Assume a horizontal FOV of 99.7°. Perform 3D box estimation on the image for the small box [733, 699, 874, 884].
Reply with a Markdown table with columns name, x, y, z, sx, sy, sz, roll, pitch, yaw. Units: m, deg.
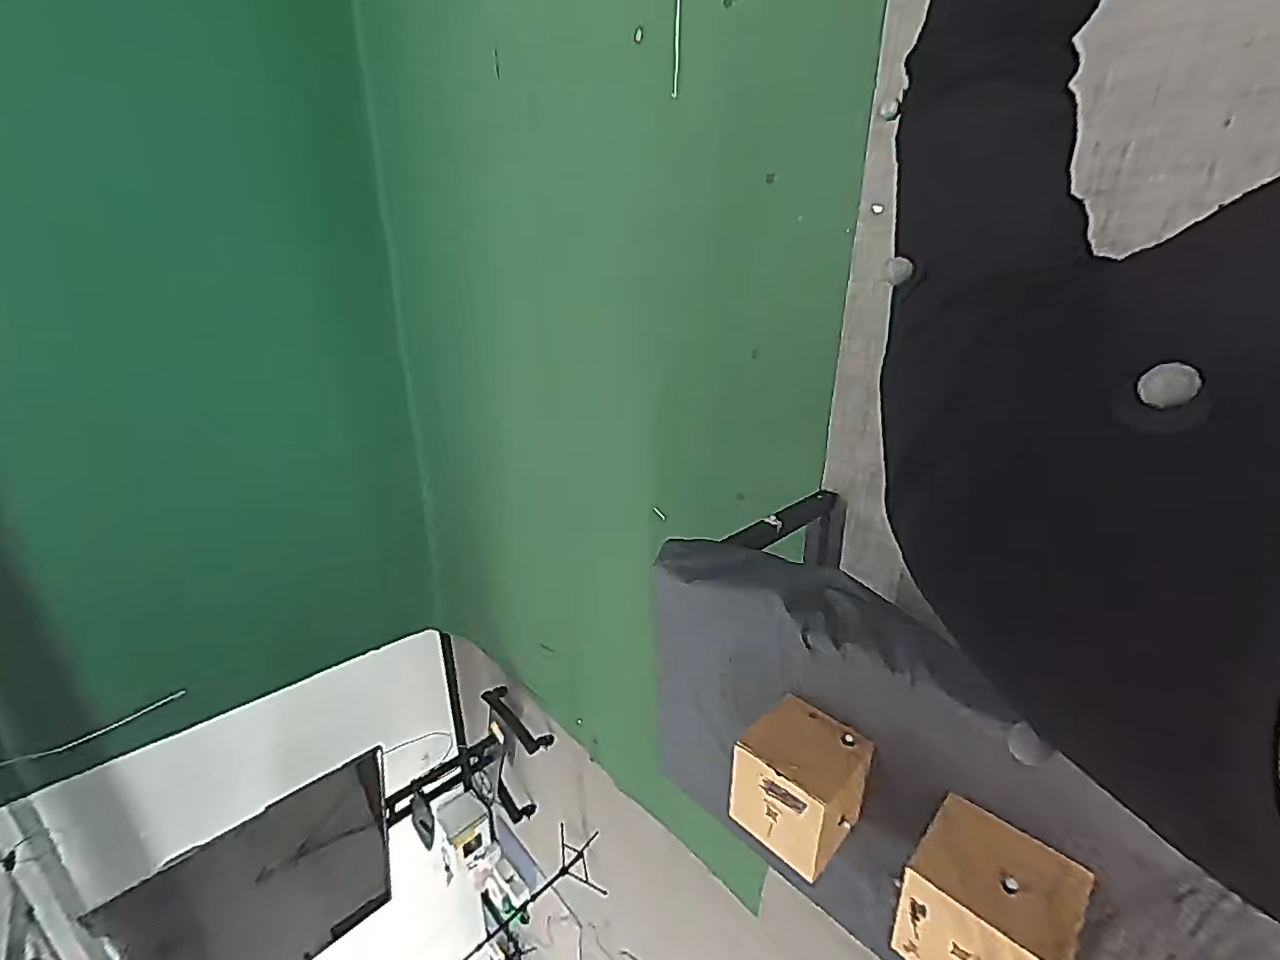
| name | x | y | z | sx | sy | sz | roll | pitch | yaw |
| --- | --- | --- | --- | --- | --- | --- | --- | --- | --- |
| small box | 0.280 | 0.517 | 0.926 | 0.168 | 0.176 | 0.179 | 20 | 119 | 42 |

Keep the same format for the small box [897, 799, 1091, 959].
| name | x | y | z | sx | sy | sz | roll | pitch | yaw |
| --- | --- | --- | --- | --- | --- | --- | --- | --- | --- |
| small box | 0.479 | 0.586 | 0.734 | 0.179 | 0.176 | 0.168 | 17 | 116 | 42 |
